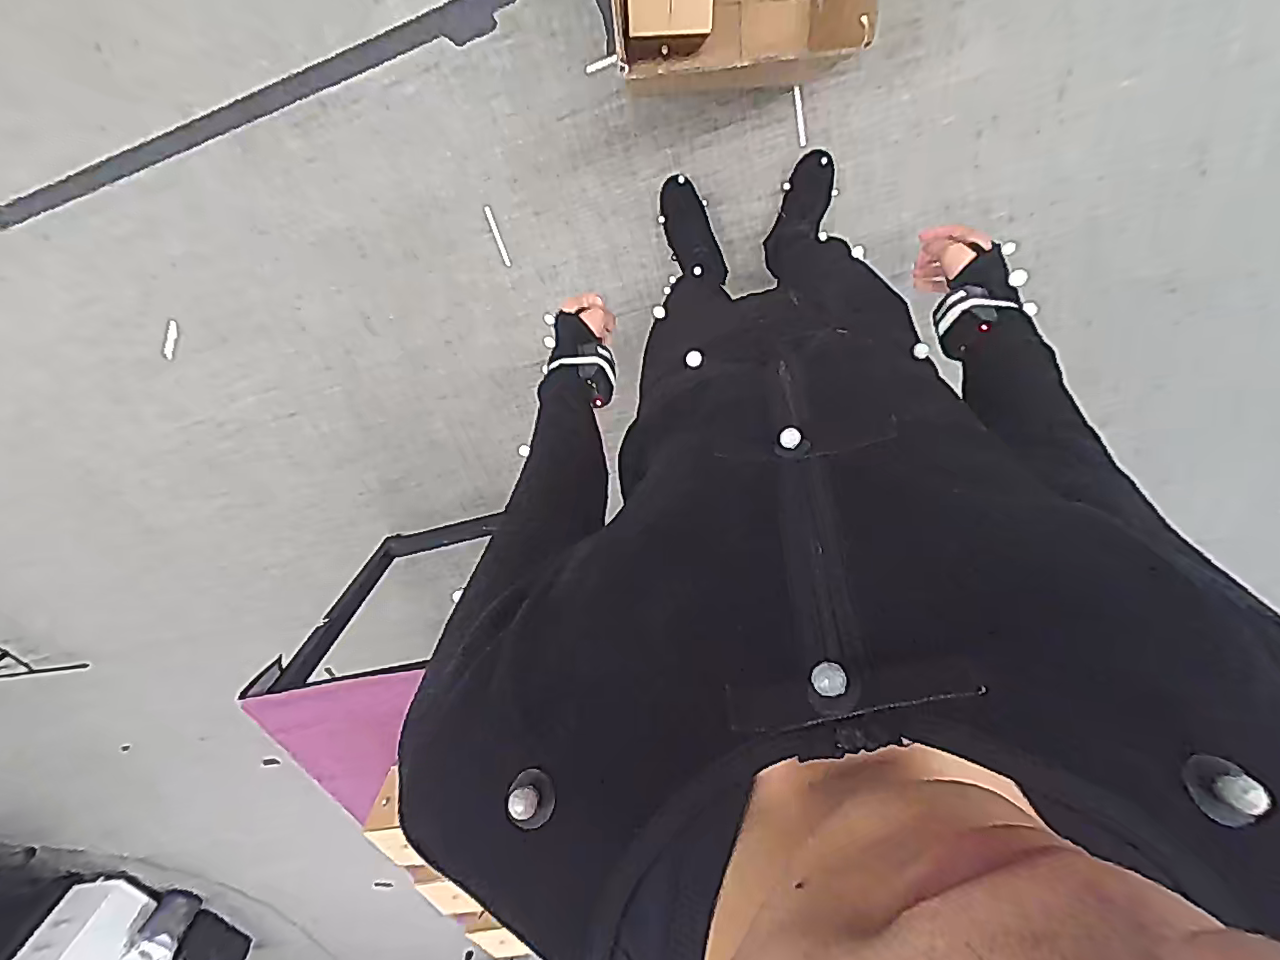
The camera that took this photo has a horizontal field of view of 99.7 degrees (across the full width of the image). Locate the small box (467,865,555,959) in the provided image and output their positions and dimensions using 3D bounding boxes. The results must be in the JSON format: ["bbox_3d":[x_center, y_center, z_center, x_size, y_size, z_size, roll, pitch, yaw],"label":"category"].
[{"bbox_3d":[-0.378,1.292,1.618,0.179,0.176,0.168,-22,117,15],"label":"small box"}]

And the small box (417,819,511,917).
[{"bbox_3d":[-0.474,1.070,1.498,0.179,0.176,0.168,-16,117,13],"label":"small box"}]
